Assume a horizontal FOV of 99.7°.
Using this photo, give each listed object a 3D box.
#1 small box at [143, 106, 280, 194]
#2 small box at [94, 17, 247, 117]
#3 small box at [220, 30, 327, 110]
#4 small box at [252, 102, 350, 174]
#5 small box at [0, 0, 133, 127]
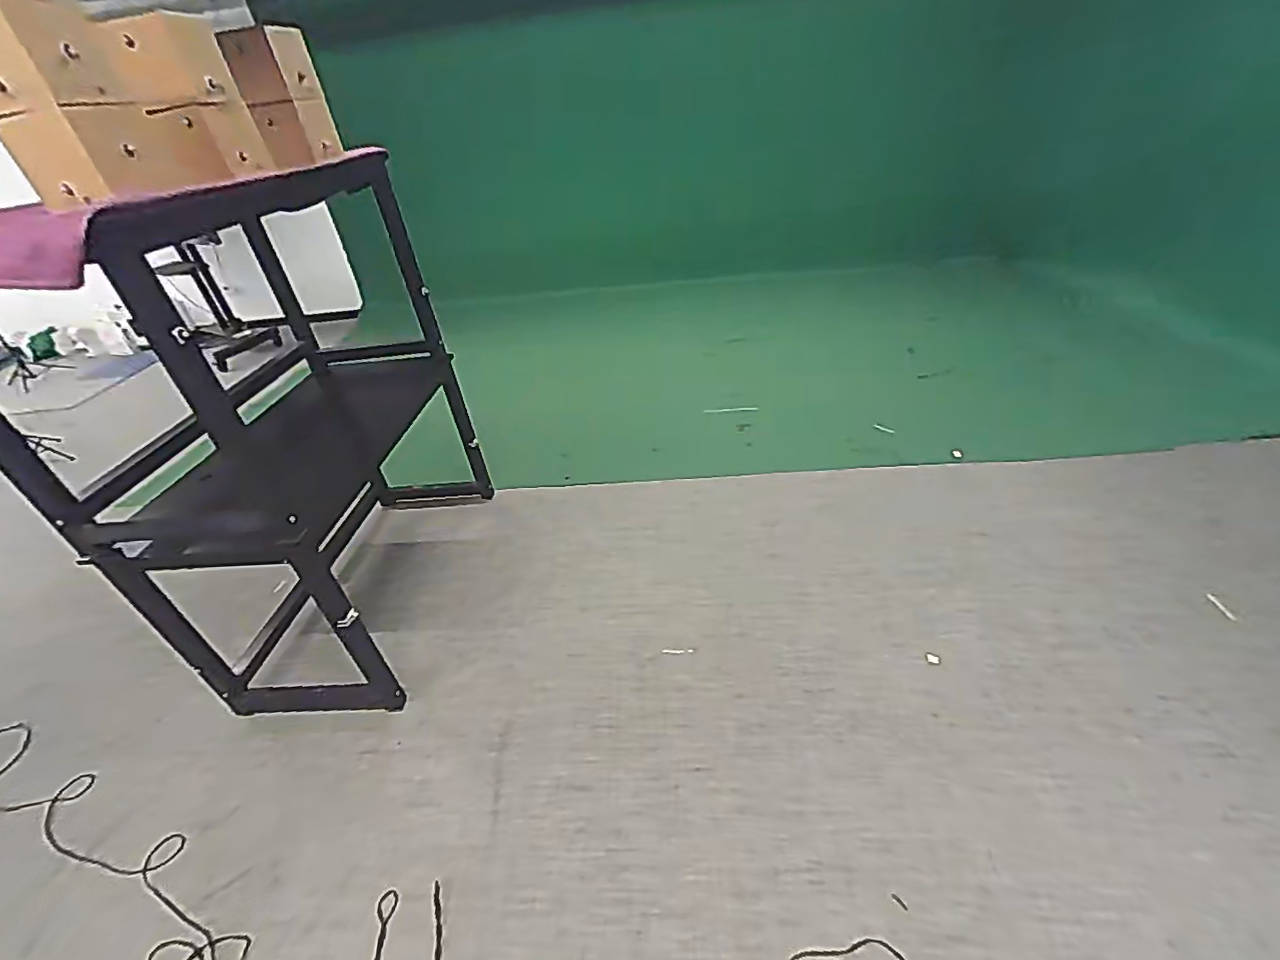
[{"bbox_3d":[-1.076,-0.836,1.374,0.179,0.176,0.168,-2,36,9],"label":"small box"},{"bbox_3d":[-1.092,-0.964,1.275,0.179,0.176,0.168,-4,37,4],"label":"small box"},{"bbox_3d":[-1.073,-1.198,1.589,0.179,0.176,0.168,-1,37,9],"label":"small box"},{"bbox_3d":[-1.053,-1.065,1.685,0.179,0.176,0.168,0,37,9],"label":"small box"},{"bbox_3d":[-1.110,-0.764,0.991,0.179,0.176,0.168,-4,36,6],"label":"small box"}]
